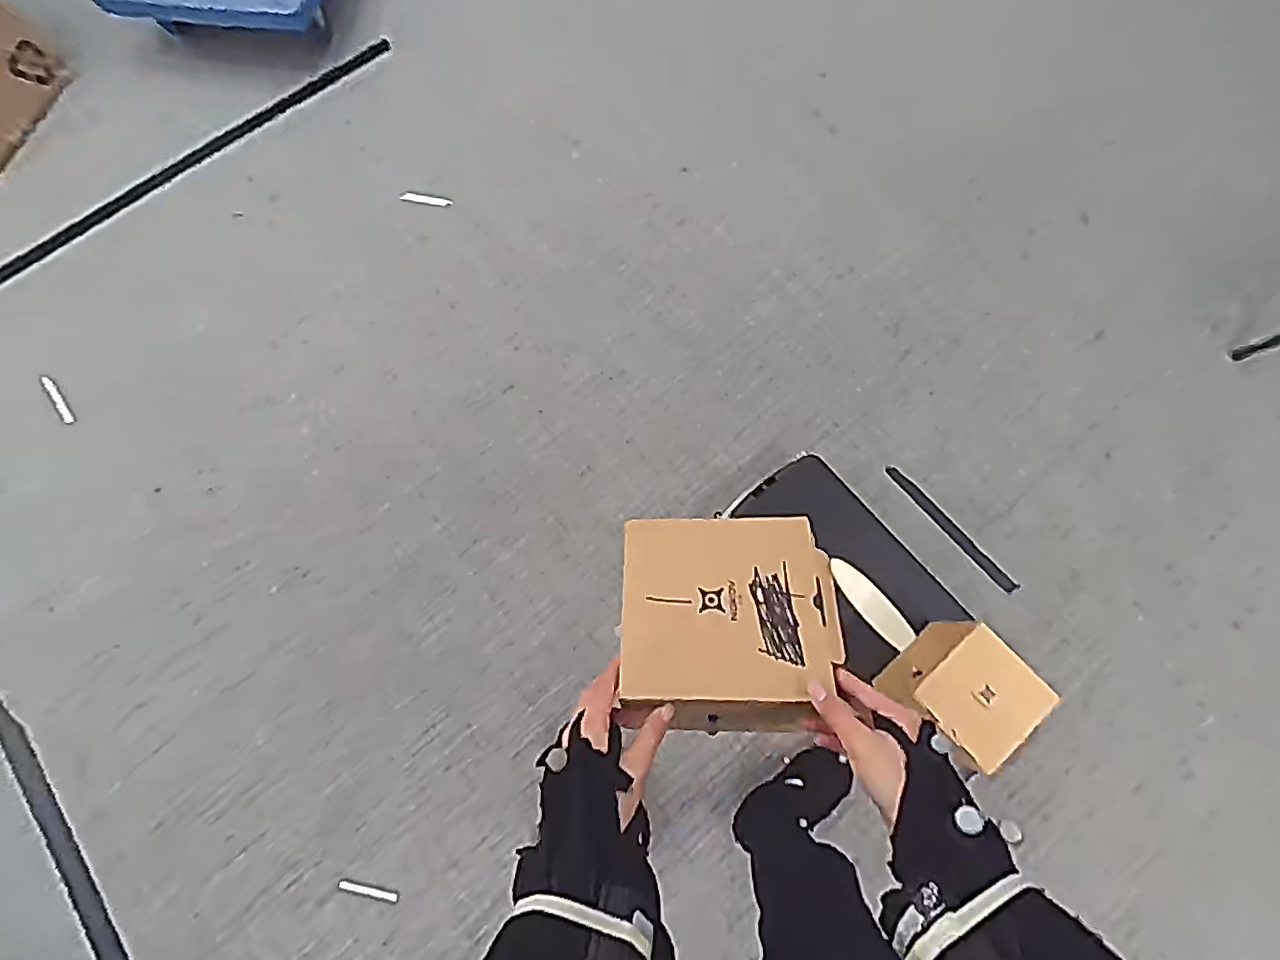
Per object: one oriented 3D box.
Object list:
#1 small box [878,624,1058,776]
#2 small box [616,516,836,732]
[{"bbox_3d":[0.559,0.369,0.949,0.179,0.176,0.168,-41,79,-8],"label":"small box"},{"bbox_3d":[0.073,0.147,0.533,0.179,0.176,0.168,-1,58,4],"label":"small box"}]
